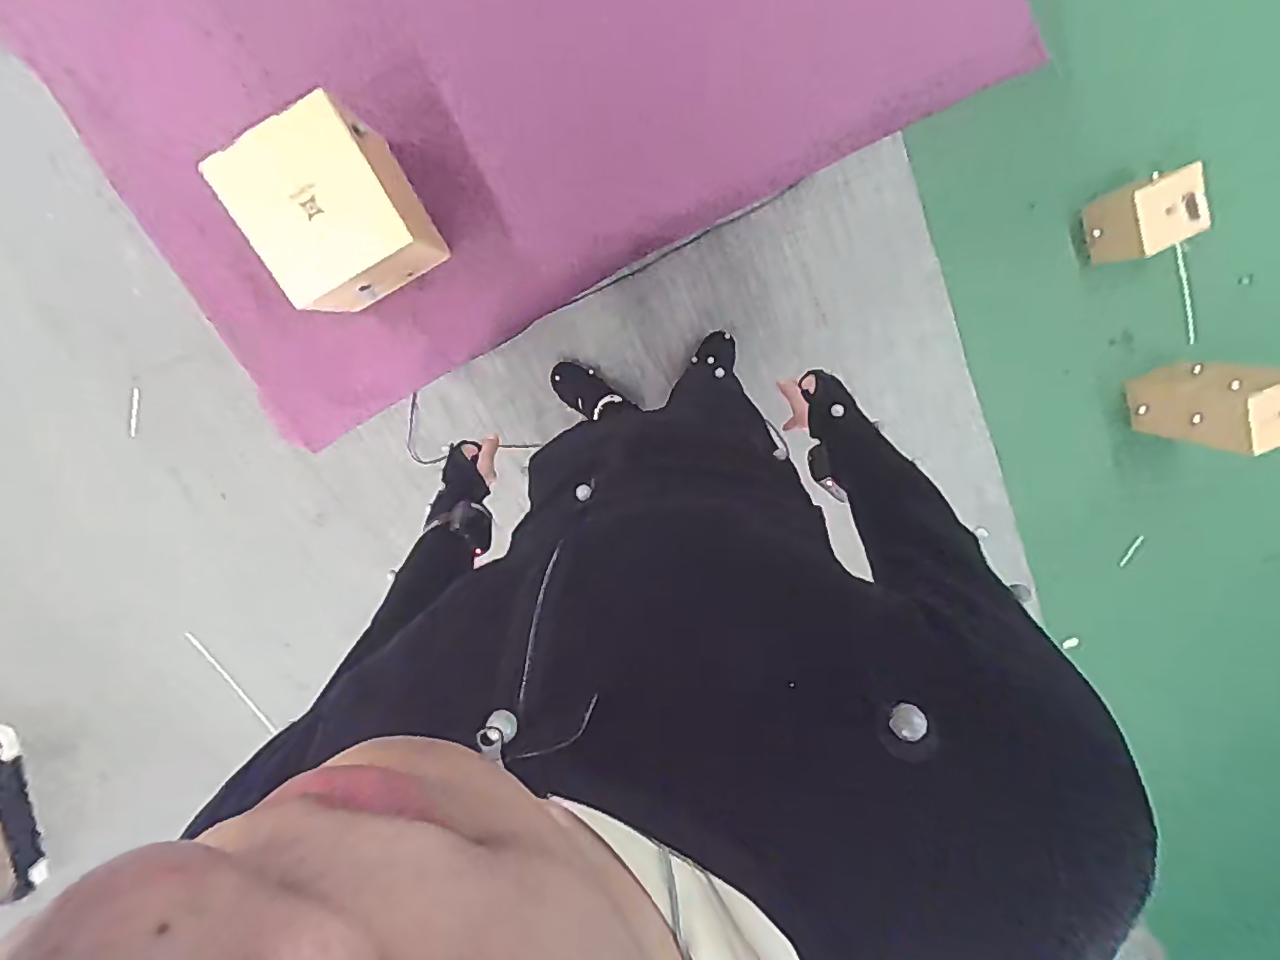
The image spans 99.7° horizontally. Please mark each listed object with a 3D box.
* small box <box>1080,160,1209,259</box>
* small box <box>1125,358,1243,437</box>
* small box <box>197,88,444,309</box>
[{"bbox_3d":[1.331,-0.708,1.435,0.179,0.176,0.168,-26,105,5],"label":"small box"},{"bbox_3d":[1.589,-0.248,1.585,0.179,0.176,0.168,-24,106,4],"label":"small box"},{"bbox_3d":[-0.379,-0.335,0.684,0.168,0.176,0.179,-28,105,5],"label":"small box"}]
